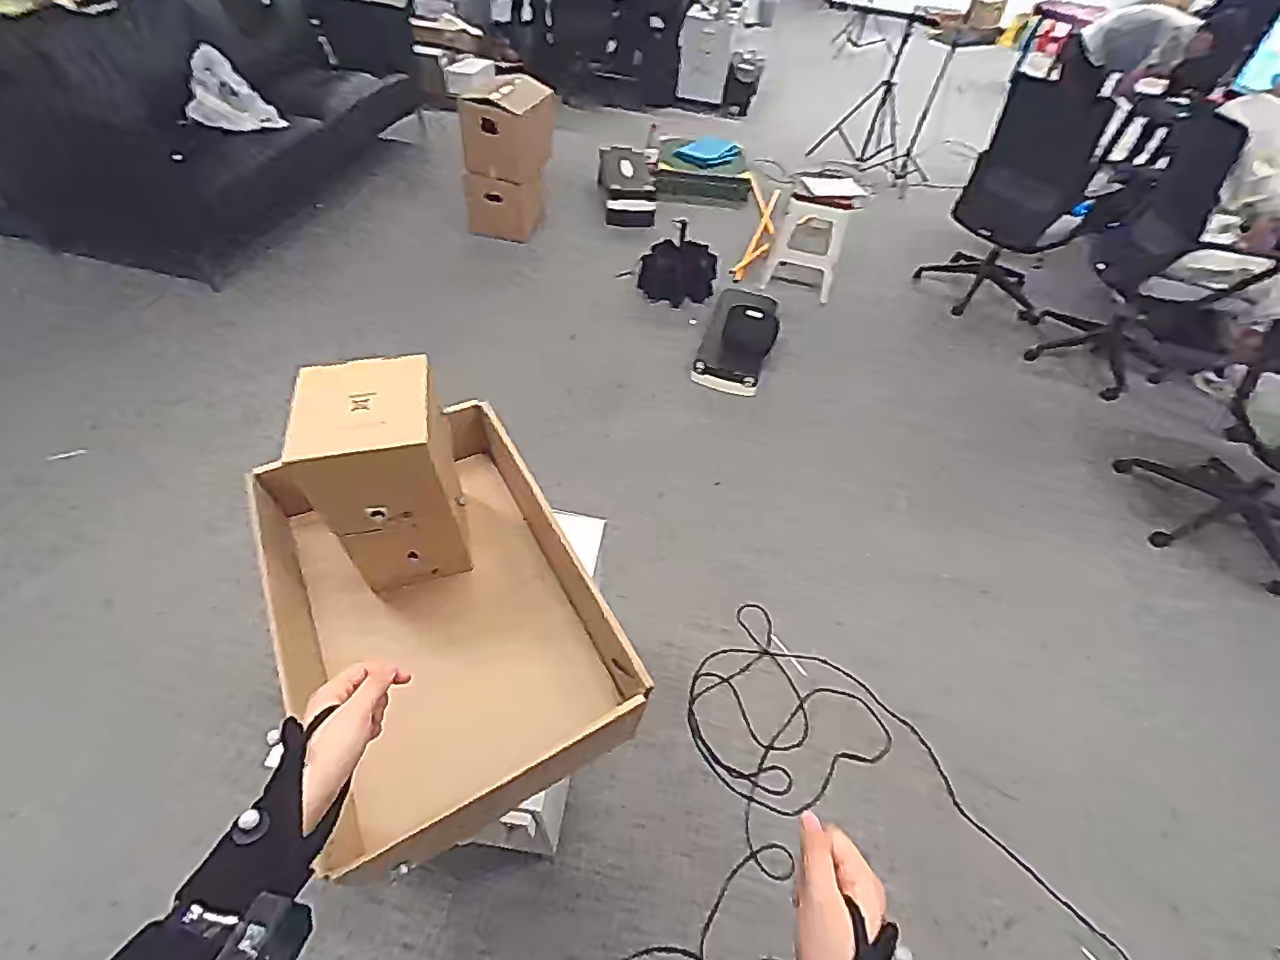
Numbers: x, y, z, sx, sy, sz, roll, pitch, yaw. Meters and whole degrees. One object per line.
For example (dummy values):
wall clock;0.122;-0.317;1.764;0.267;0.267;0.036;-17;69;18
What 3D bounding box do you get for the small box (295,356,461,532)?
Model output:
small box;-0.360;-0.051;0.775;0.168;0.176;0.179;-10;53;-11
